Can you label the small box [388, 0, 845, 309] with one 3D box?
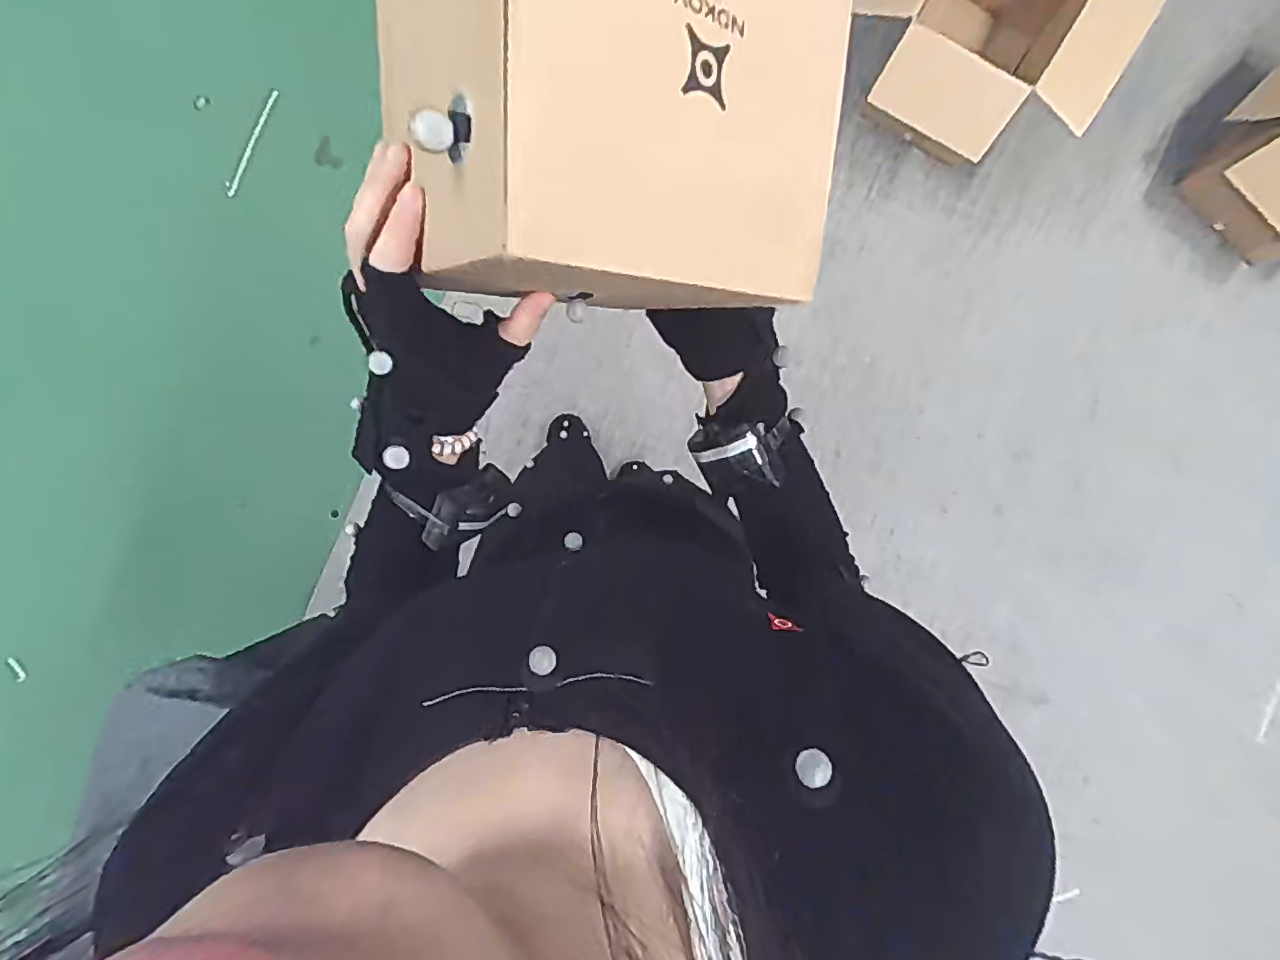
[{"bbox_3d":[-0.024,-0.186,0.278,0.168,0.176,0.179,-6,106,-35],"label":"small box"}]
